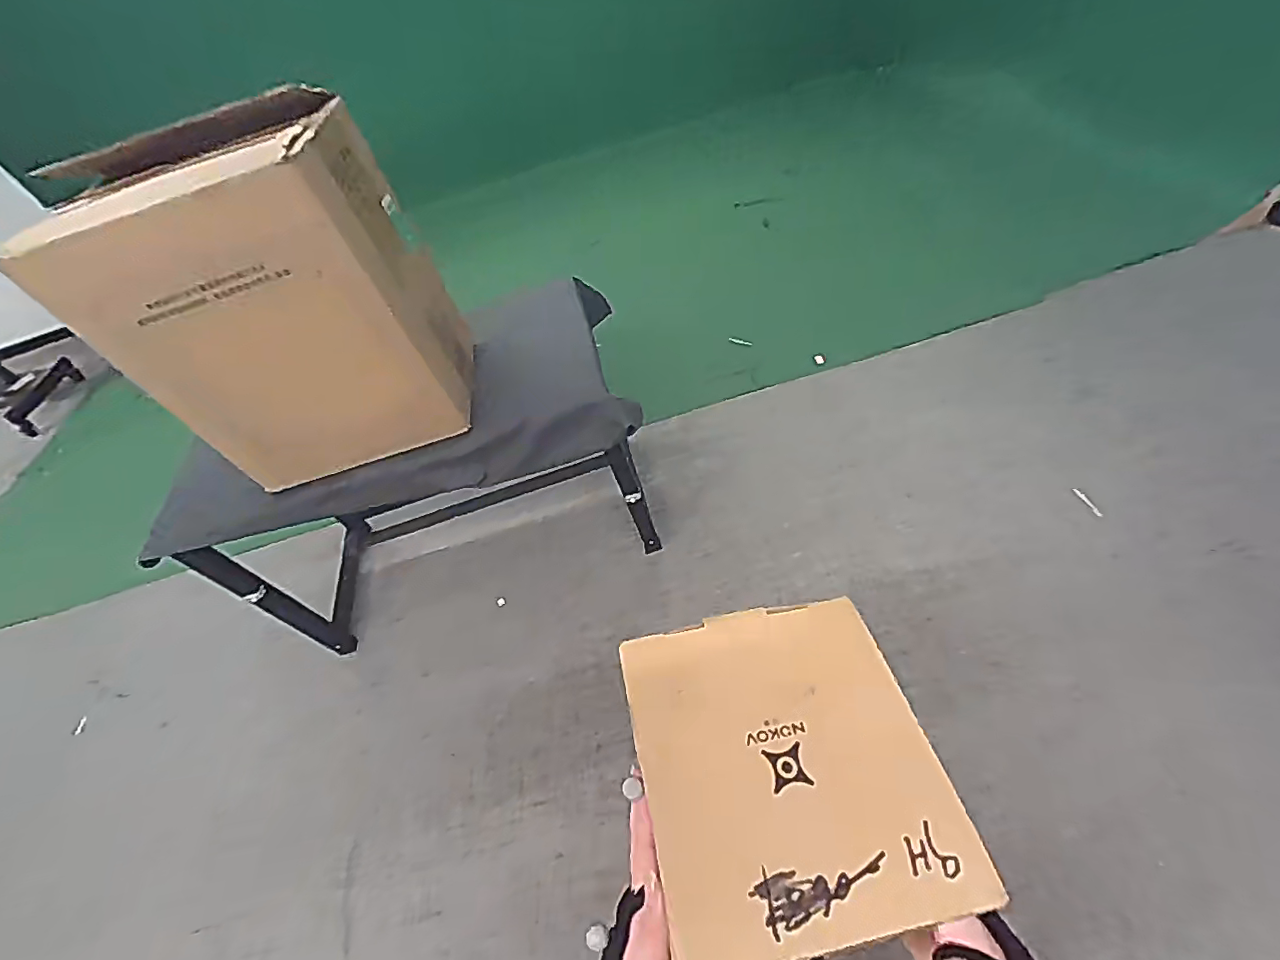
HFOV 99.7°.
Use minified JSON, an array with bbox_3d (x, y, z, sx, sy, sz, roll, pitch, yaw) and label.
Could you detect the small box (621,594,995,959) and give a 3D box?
[{"bbox_3d":[0.084,0.209,0.371,0.168,0.176,0.179,-11,46,-4],"label":"small box"}]
